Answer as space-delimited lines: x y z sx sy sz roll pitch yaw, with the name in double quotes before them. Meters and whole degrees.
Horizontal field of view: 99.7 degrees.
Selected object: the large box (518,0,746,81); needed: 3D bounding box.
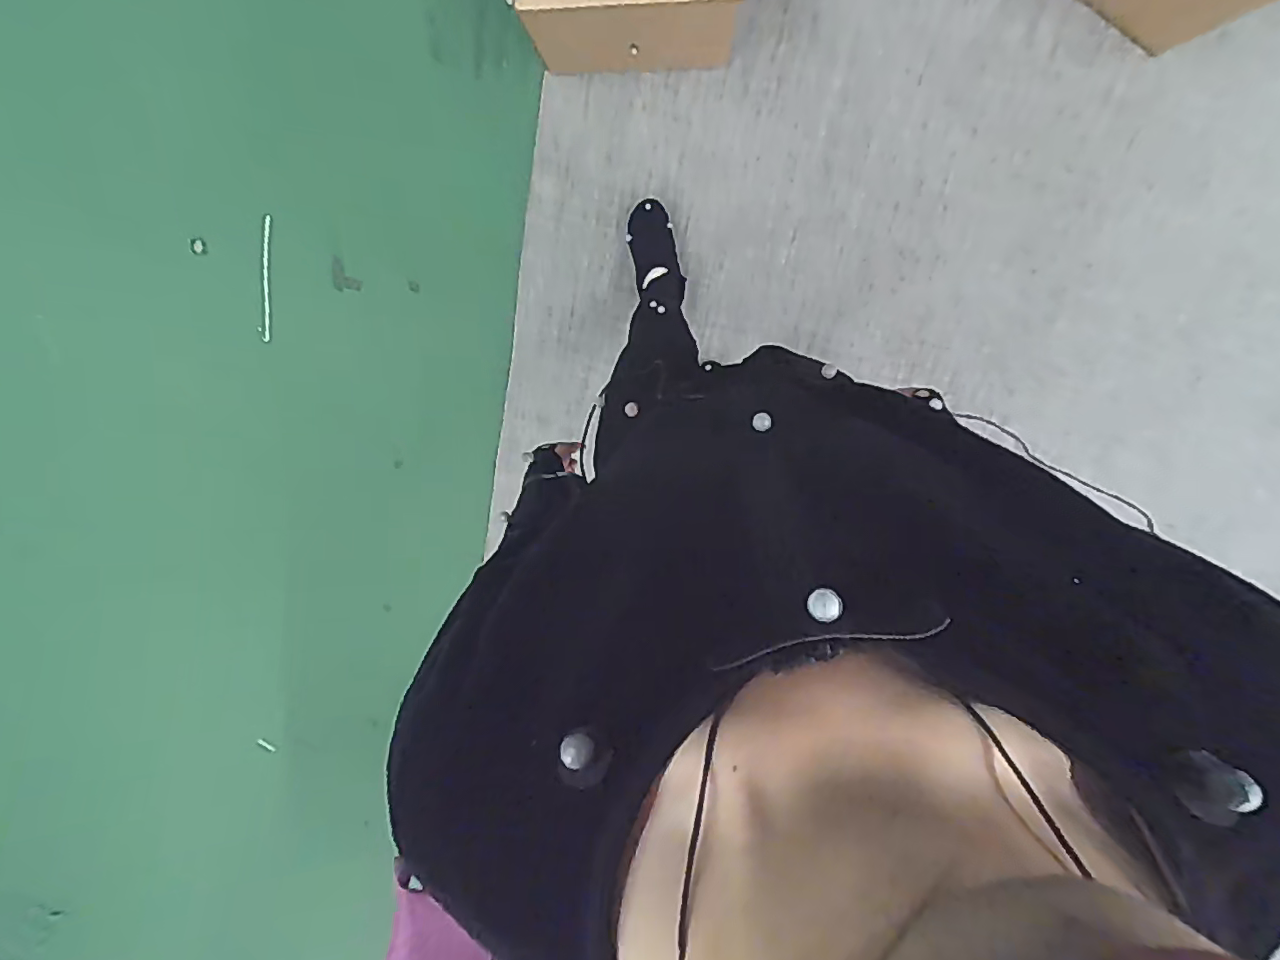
"large box" -0.009 -1.011 1.036 0.408 0.320 0.320 0 108 4
